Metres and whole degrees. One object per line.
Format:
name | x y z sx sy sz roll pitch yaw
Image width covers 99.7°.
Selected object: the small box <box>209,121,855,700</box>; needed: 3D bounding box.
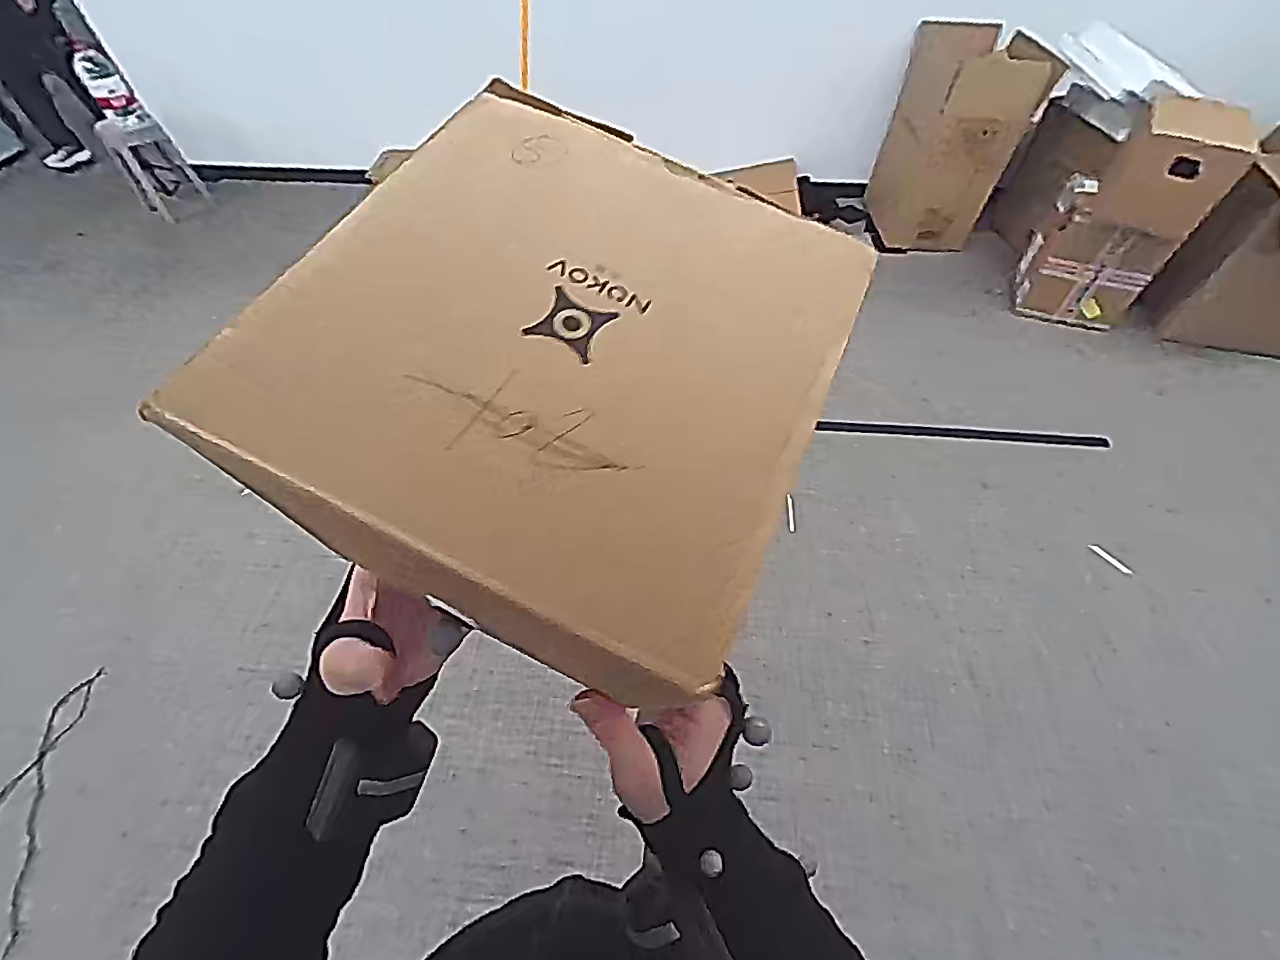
small box | -0.030 -0.015 0.258 0.168 0.176 0.179 24 65 3
